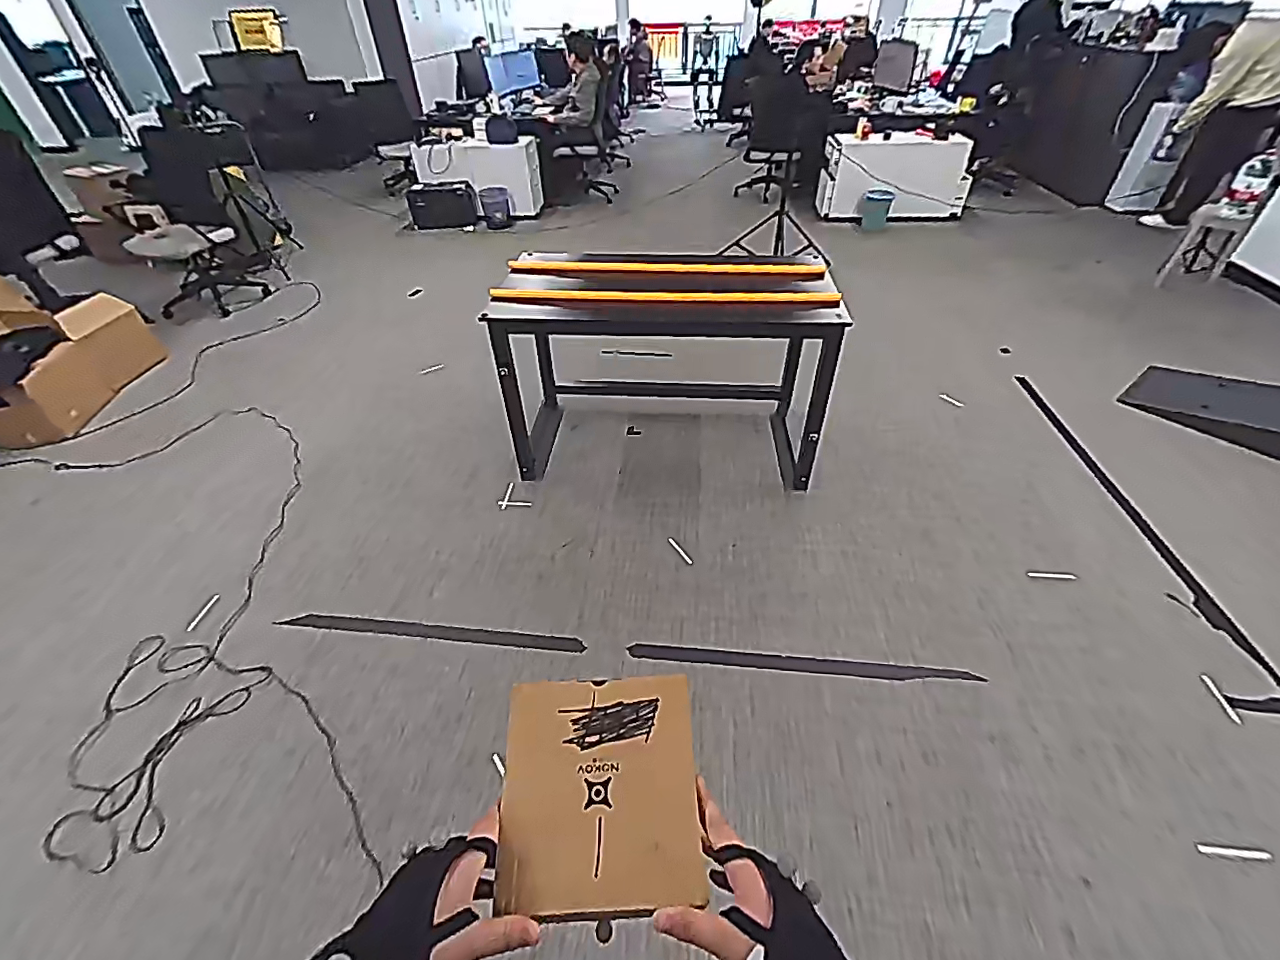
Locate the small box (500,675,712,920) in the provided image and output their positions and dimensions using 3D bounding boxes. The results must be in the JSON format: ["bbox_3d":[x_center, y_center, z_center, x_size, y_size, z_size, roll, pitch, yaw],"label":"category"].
[{"bbox_3d":[-0.027,0.309,0.525,0.168,0.176,0.179,-3,50,0],"label":"small box"}]
